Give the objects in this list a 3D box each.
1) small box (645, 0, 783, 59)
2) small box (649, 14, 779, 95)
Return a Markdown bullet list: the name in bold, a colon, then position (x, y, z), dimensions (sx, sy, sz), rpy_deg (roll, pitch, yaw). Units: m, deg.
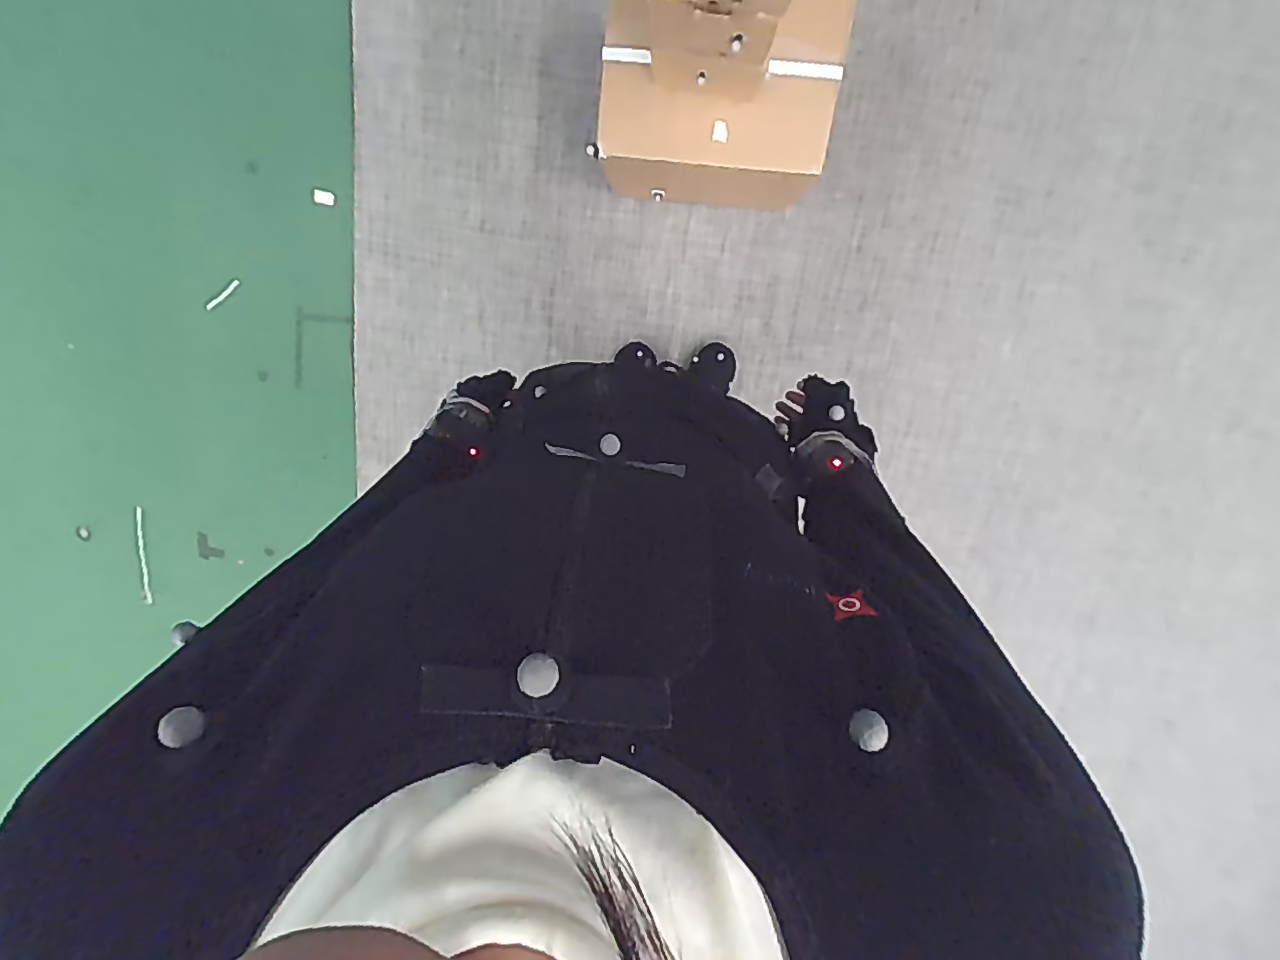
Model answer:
- **small box**: position (0.103, -0.661, 0.671), dimensions (0.168, 0.176, 0.179), rpy_deg (9, 111, 0)
- **small box**: position (0.119, -0.715, 0.820), dimensions (0.179, 0.176, 0.168), rpy_deg (13, 110, -1)
